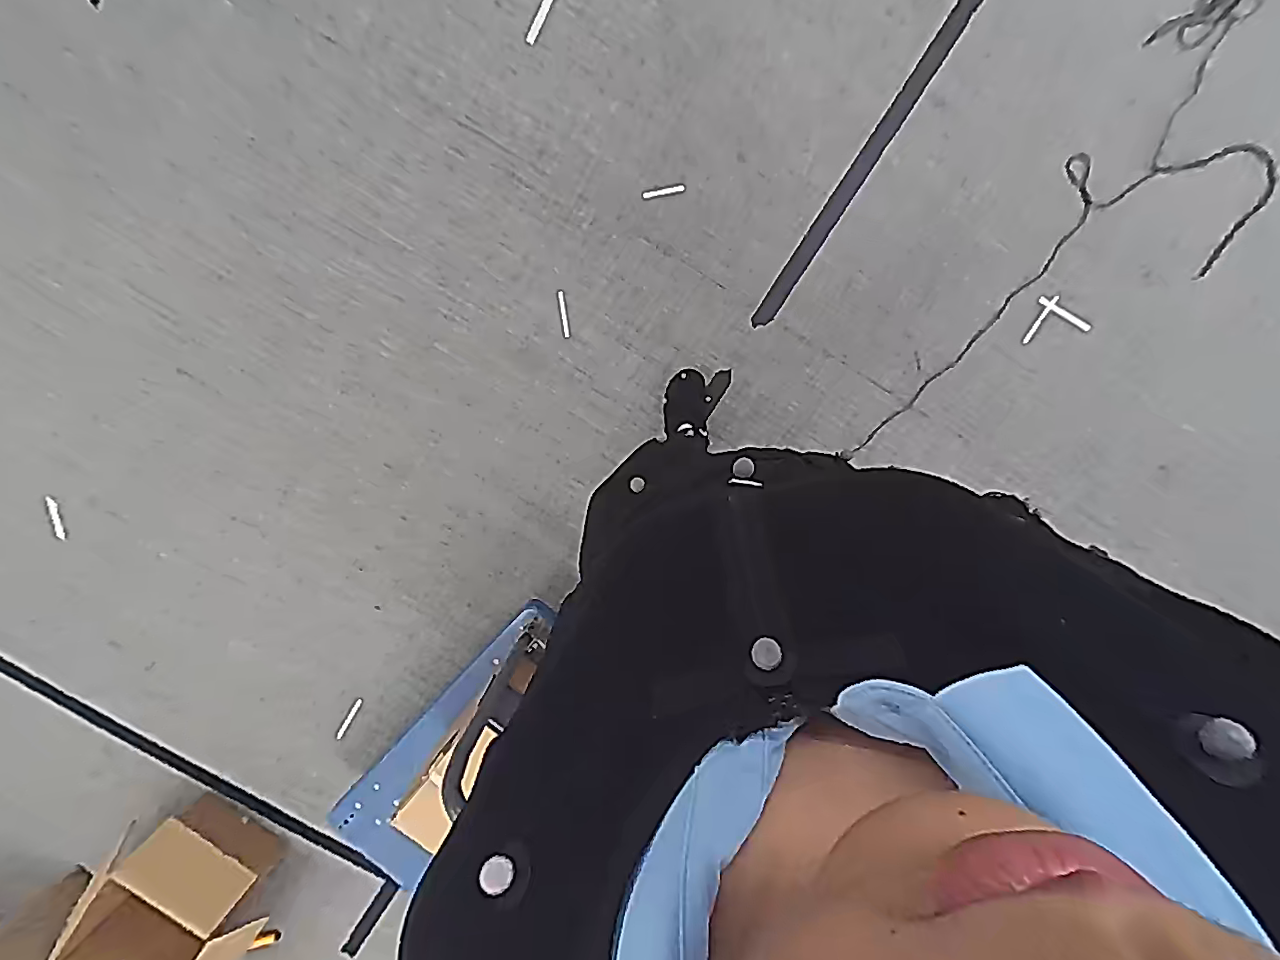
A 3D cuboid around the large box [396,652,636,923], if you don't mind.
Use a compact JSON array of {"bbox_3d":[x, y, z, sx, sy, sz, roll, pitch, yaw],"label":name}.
[{"bbox_3d":[-0.260,0.695,1.274,0.408,0.320,0.320,39,97,-3],"label":"large box"}]
